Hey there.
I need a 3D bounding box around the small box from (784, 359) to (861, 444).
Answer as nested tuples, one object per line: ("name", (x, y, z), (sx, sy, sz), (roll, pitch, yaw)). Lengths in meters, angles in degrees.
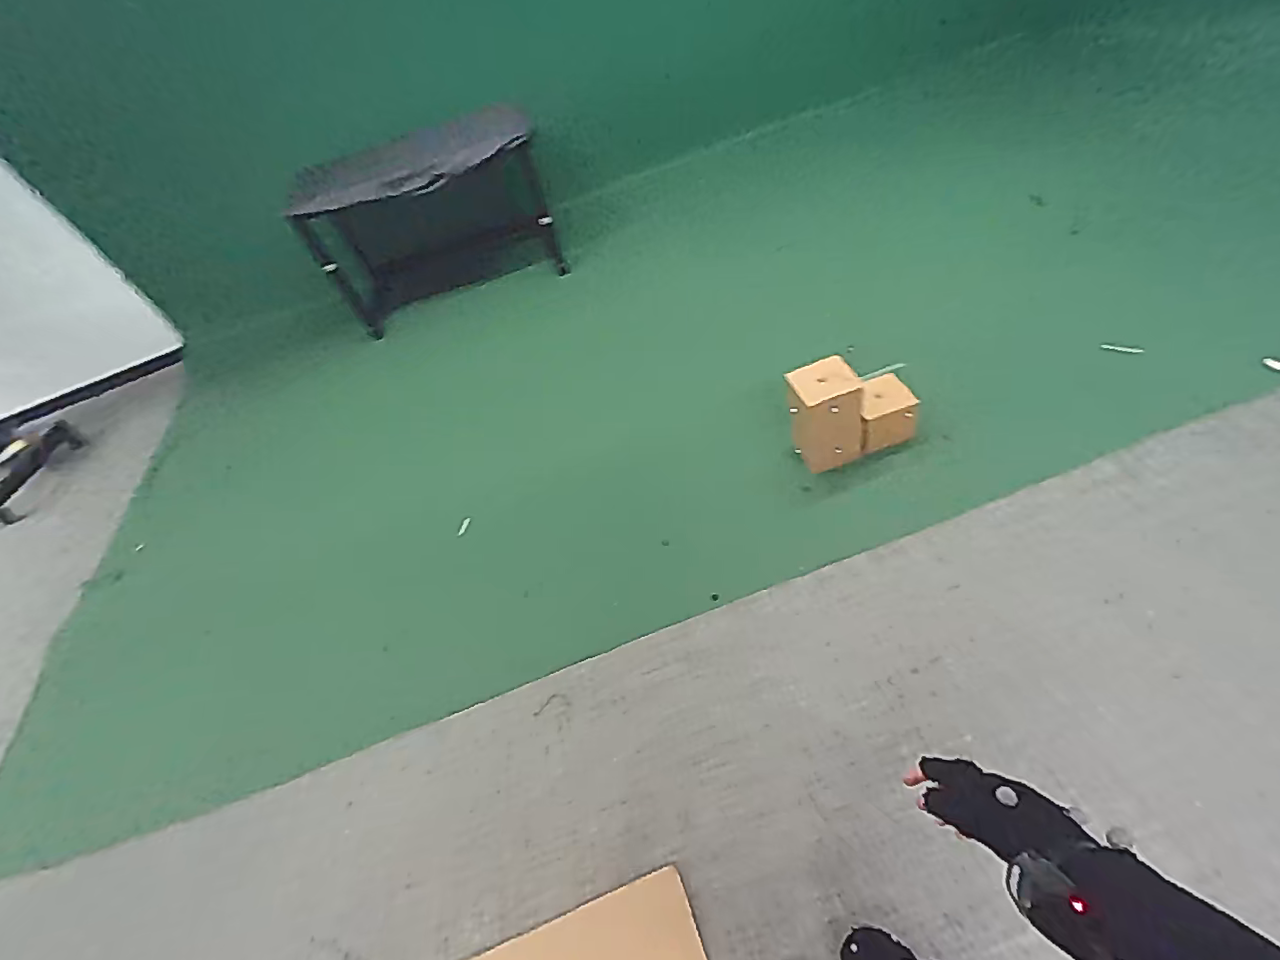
("small box", (0.569, -0.239, 1.686), (0.179, 0.176, 0.168), (-20, 49, 1))
